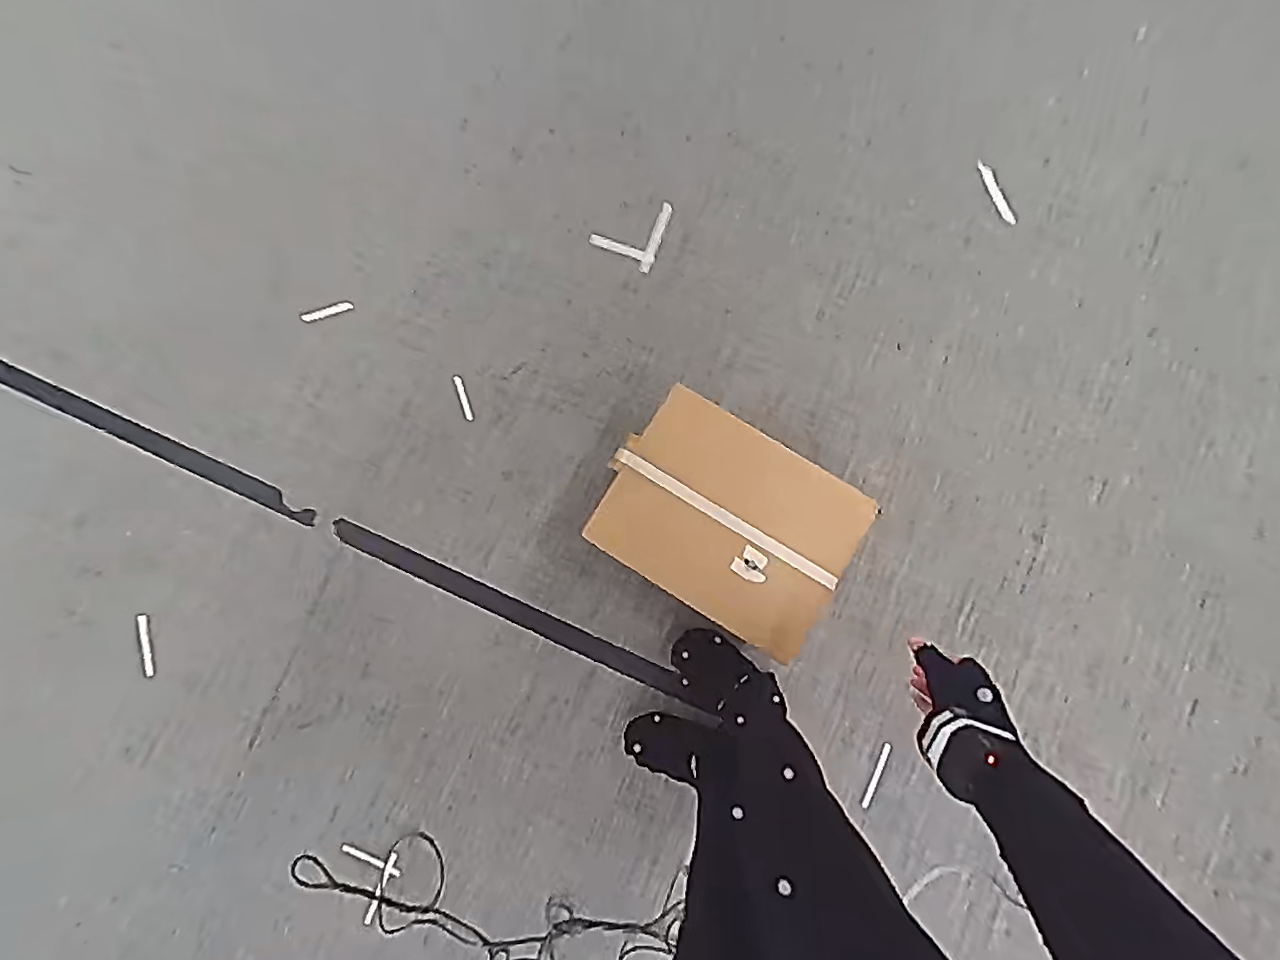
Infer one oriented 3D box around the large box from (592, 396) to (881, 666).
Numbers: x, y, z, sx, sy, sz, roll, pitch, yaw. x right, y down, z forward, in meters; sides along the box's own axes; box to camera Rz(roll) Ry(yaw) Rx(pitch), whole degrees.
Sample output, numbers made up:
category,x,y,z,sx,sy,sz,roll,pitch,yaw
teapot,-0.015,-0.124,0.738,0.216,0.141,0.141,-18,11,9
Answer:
category,x,y,z,sx,sy,sz,roll,pitch,yaw
large box,0.162,0.095,1.058,0.408,0.320,0.320,32,86,4
